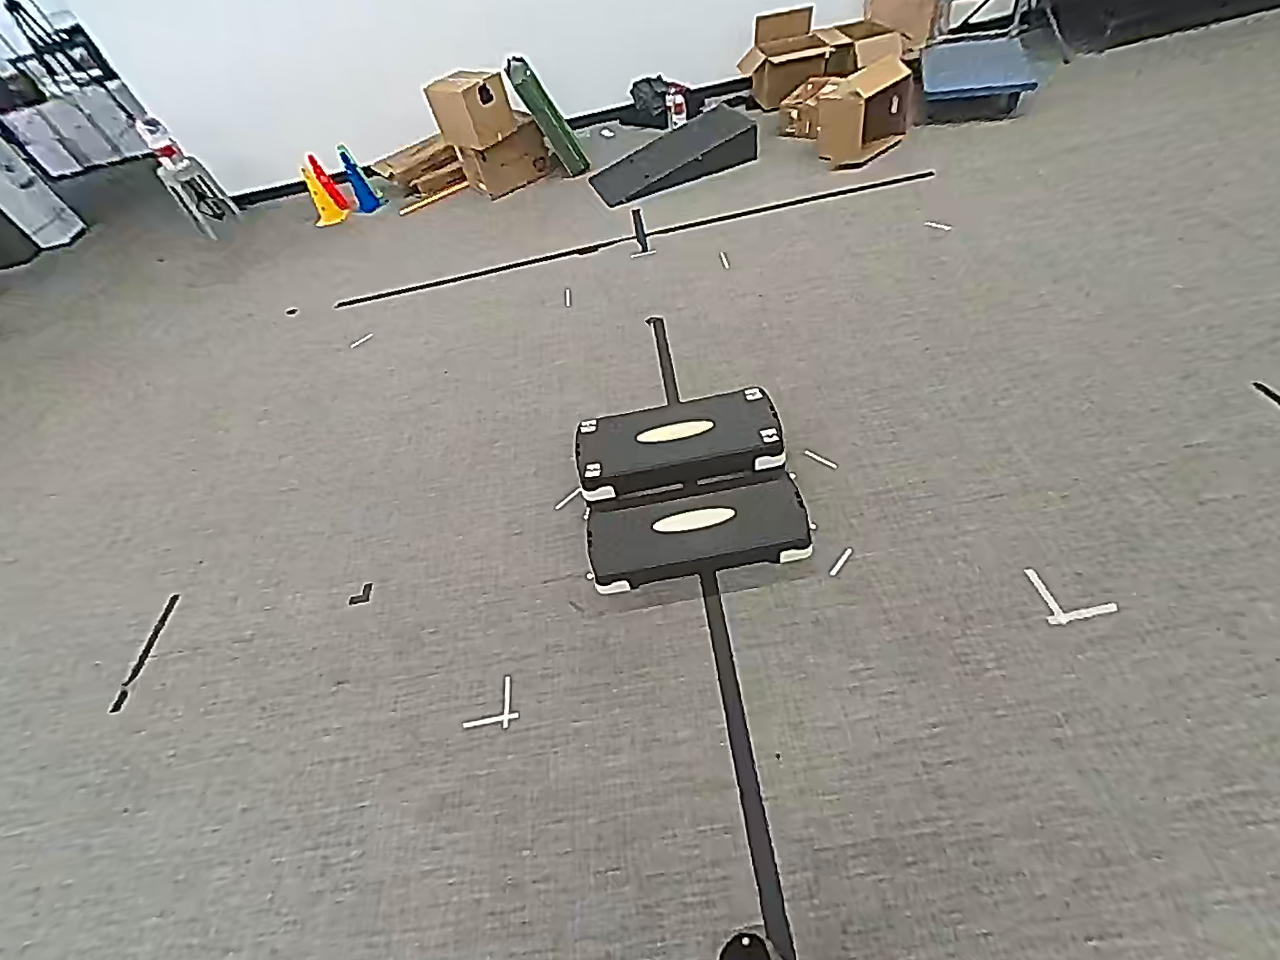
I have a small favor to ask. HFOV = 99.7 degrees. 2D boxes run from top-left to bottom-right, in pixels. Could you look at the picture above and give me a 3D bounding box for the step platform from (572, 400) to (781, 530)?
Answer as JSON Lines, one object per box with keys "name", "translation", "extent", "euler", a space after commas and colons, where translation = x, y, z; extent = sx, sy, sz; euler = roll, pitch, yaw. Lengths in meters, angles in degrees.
{"name": "step platform", "translation": [0.115, -0.055, 1.807], "extent": [0.684, 0.204, 0.286], "euler": [-11, 50, 2]}
